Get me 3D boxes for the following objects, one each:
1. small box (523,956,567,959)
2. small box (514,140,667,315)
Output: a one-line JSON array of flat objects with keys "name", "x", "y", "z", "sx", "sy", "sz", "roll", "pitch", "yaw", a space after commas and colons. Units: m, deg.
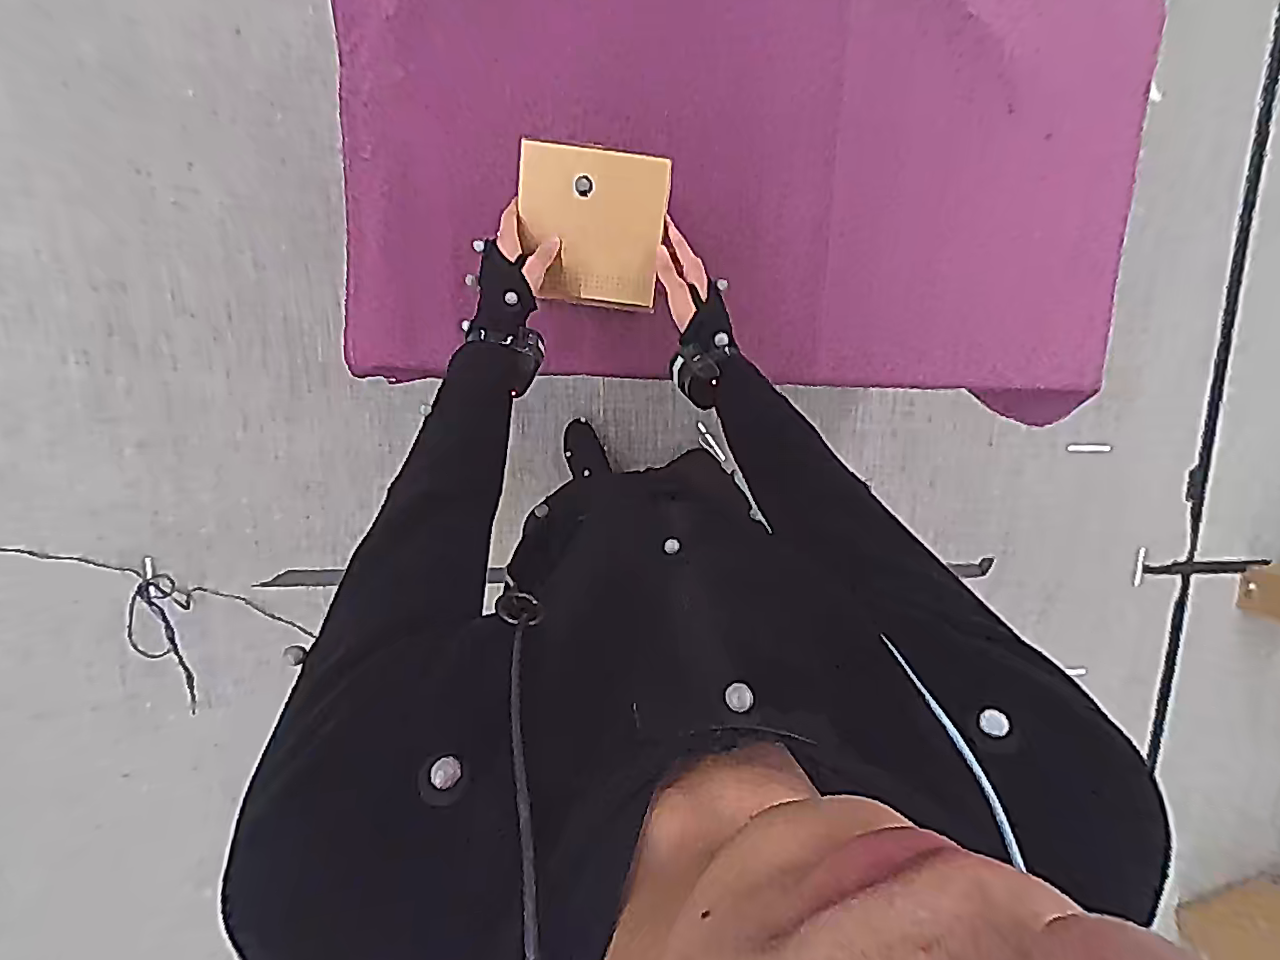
[{"name": "small box", "x": -0.323, "y": 1.735, "z": 1.801, "sx": 0.168, "sy": 0.176, "sz": 0.179, "roll": 3, "pitch": 100, "yaw": -7}, {"name": "small box", "x": -0.061, "y": -0.317, "z": 0.710, "sx": 0.179, "sy": 0.168, "sz": 0.176, "roll": 7, "pitch": 105, "yaw": -1}]
